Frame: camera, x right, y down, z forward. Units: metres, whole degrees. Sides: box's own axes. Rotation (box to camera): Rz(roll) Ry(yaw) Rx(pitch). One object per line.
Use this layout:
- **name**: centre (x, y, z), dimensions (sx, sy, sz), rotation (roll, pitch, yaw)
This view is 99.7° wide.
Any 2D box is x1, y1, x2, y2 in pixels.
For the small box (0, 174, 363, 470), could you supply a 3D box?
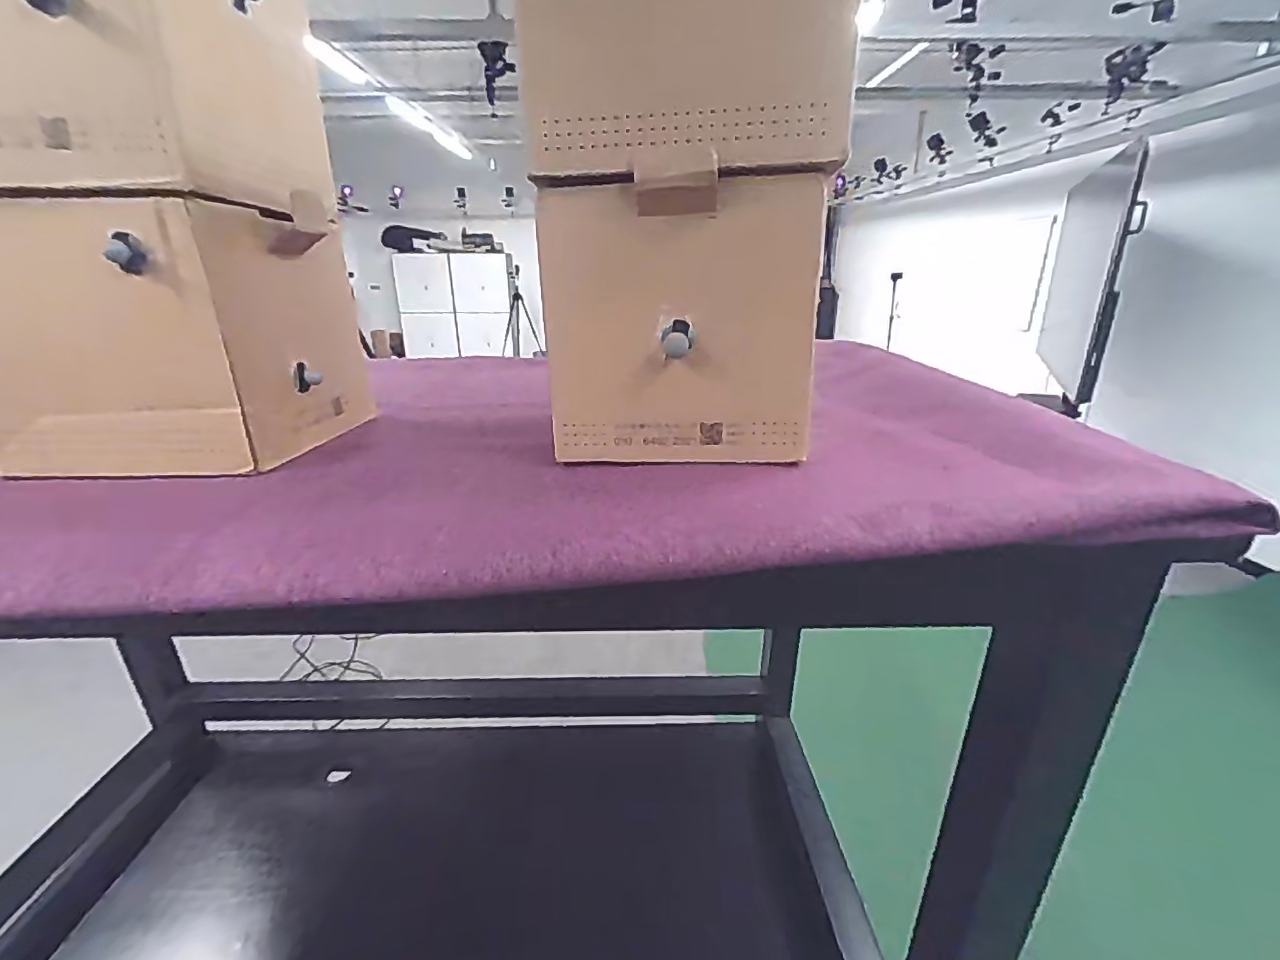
- **small box**: centre (-0.333, -0.108, 0.389), dimensions (0.179, 0.176, 0.168), rotation (-1, 20, -1)

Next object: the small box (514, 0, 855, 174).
- **small box**: centre (0.026, -0.272, 0.331), dimensions (0.179, 0.176, 0.168), rotation (0, 19, 5)

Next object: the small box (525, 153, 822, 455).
- **small box**: centre (0.029, -0.119, 0.395), dimensions (0.168, 0.176, 0.179), rotation (0, 20, 6)

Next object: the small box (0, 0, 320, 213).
- **small box**: centre (-0.328, -0.260, 0.333), dimensions (0.168, 0.176, 0.179), rotation (0, 19, -4)
